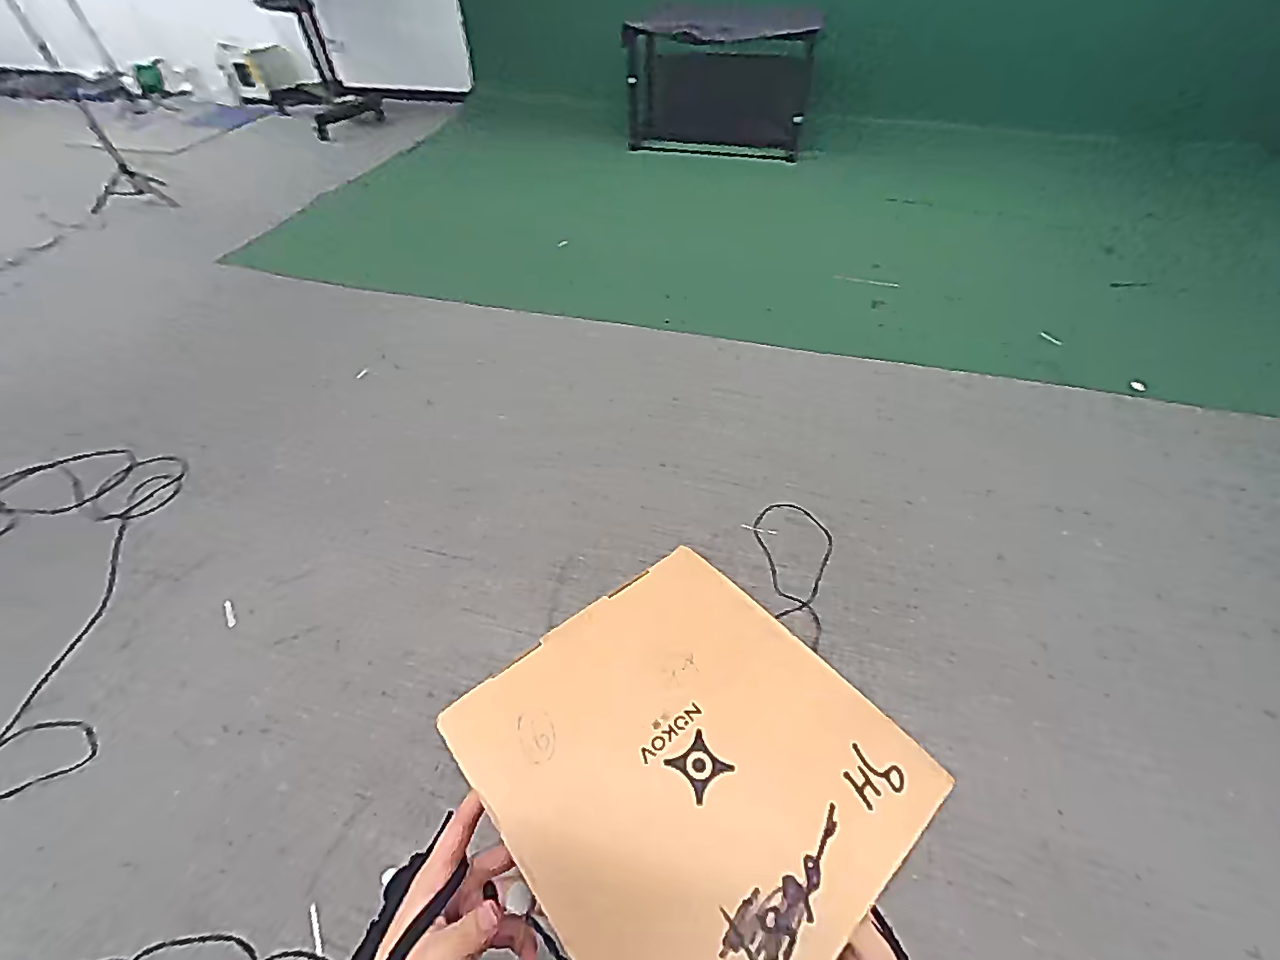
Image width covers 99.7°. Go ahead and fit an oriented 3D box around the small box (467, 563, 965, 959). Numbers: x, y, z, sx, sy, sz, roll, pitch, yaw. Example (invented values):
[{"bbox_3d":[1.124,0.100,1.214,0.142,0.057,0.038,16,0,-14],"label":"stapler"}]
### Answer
[{"bbox_3d":[0.029,0.188,0.307,0.168,0.176,0.179,-31,52,-28],"label":"small box"}]
